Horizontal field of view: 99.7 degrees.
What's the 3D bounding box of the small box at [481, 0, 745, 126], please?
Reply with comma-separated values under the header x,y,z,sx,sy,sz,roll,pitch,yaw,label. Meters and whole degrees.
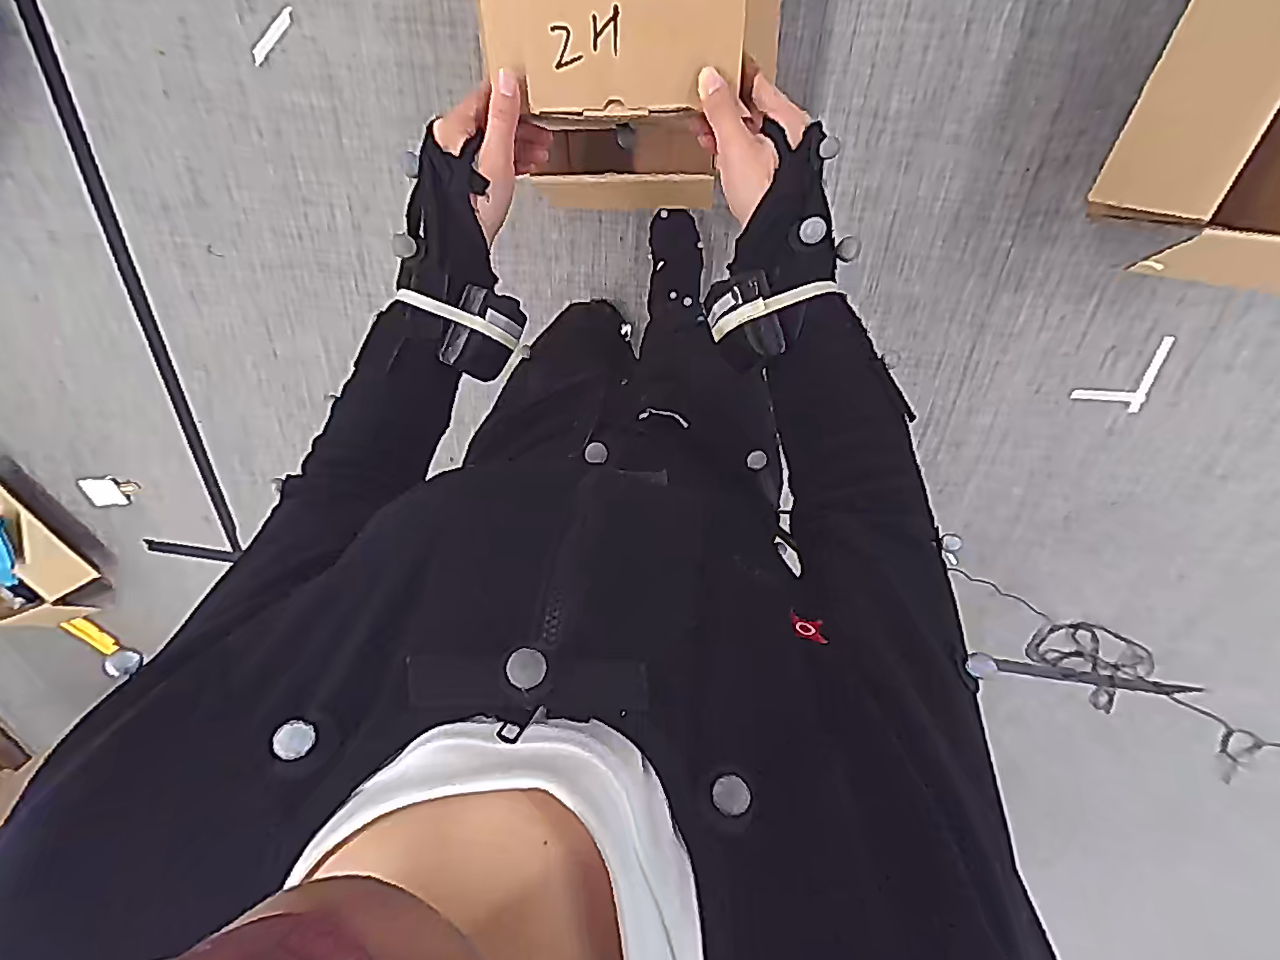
x,y,z,sx,sy,sz,roll,pitch,yaw,label
-0.014,-0.363,0.385,0.168,0.176,0.179,1,121,3,small box
